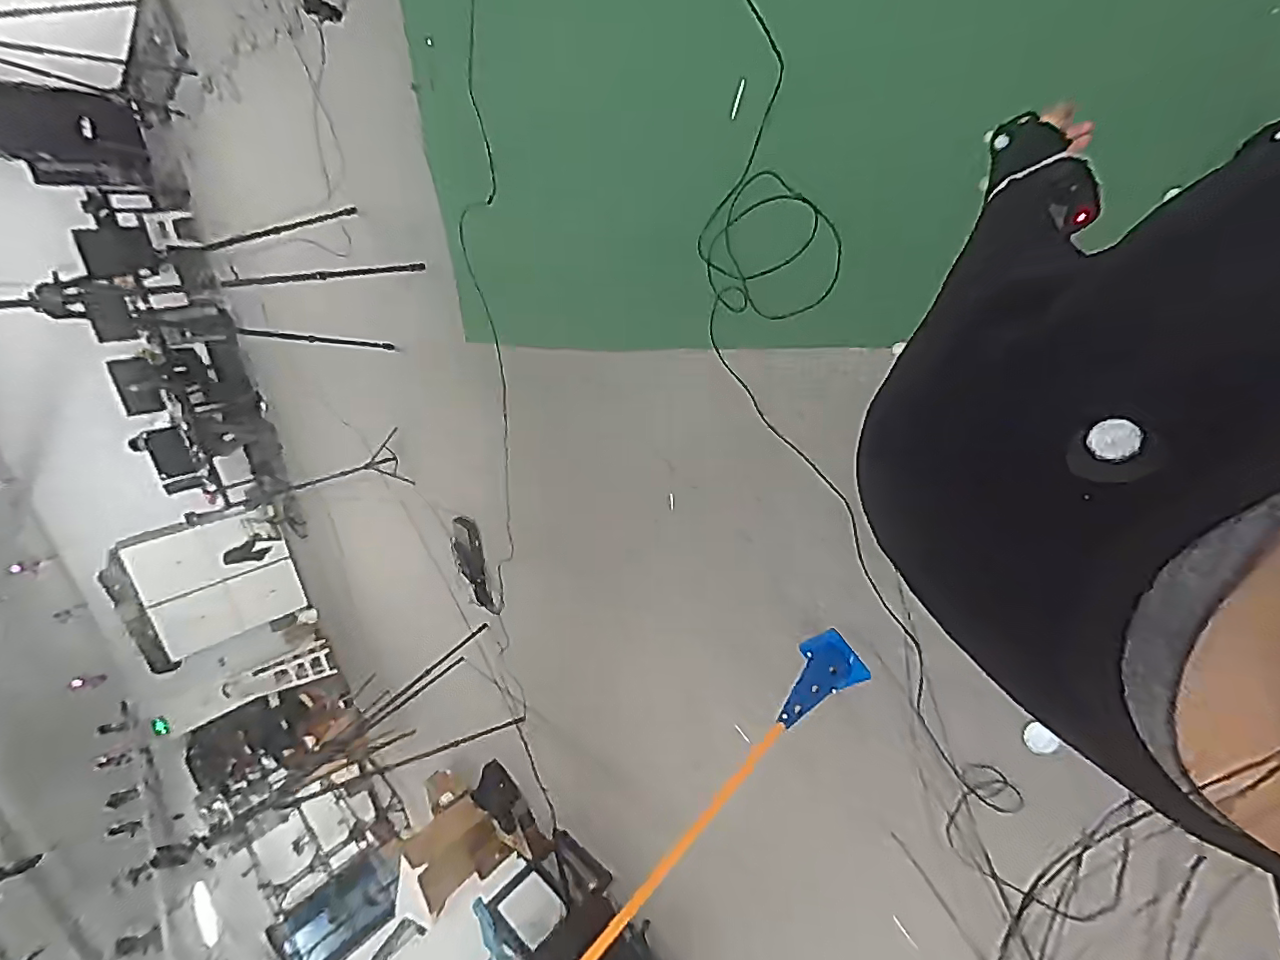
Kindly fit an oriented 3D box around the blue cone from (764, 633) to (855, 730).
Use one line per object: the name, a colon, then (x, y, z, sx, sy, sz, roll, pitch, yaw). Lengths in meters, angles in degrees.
blue cone: (0.528, 0.698, 1.785, 0.192, 0.380, 0.193, 51, 139, 12)
